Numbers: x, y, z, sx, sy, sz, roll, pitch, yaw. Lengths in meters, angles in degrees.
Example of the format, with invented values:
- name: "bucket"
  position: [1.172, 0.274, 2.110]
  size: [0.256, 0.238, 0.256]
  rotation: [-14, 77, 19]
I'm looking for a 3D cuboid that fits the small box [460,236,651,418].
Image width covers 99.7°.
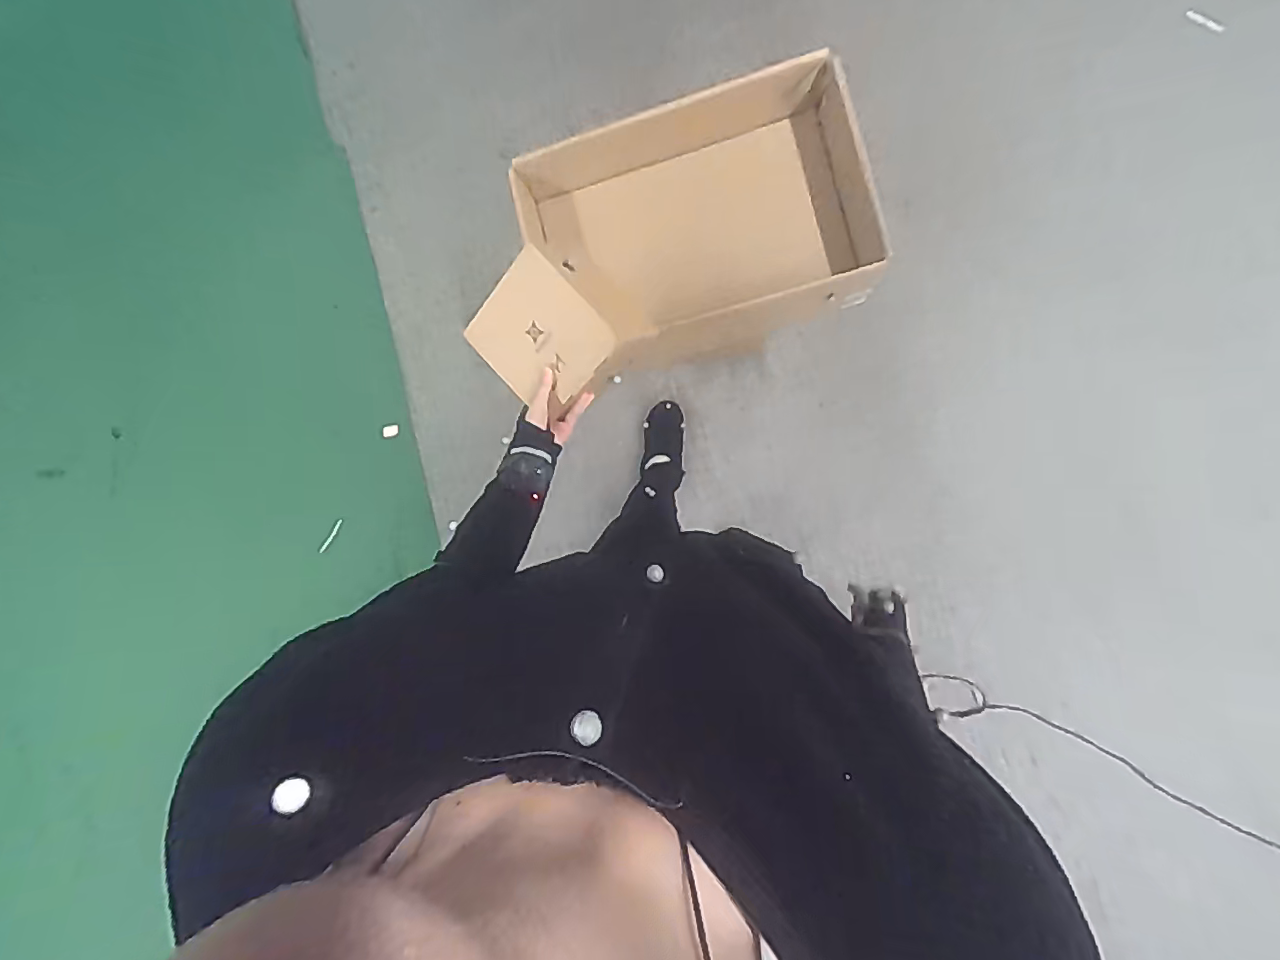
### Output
- name: "small box"
  position: [-0.113, -0.216, 0.781]
  size: [0.168, 0.176, 0.179]
  rotation: [-42, 91, 25]
